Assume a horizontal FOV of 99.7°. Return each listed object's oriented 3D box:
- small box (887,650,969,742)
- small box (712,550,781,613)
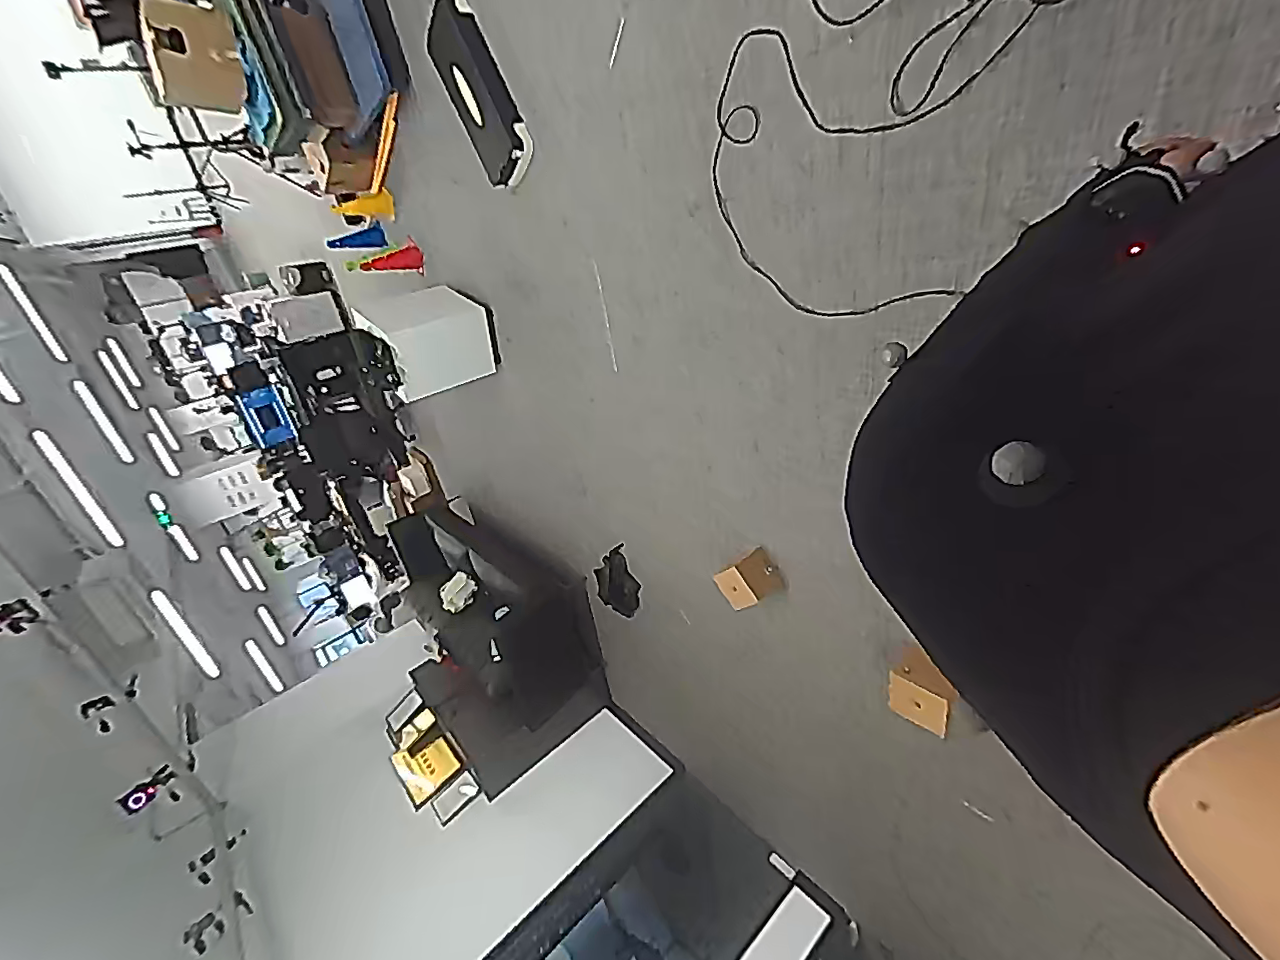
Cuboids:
[{"bbox_3d":[0.898,0.663,1.686,0.179,0.176,0.168,20,130,48],"label":"small box"},{"bbox_3d":[0.428,0.406,2.161,0.168,0.176,0.179,55,147,8],"label":"small box"}]
